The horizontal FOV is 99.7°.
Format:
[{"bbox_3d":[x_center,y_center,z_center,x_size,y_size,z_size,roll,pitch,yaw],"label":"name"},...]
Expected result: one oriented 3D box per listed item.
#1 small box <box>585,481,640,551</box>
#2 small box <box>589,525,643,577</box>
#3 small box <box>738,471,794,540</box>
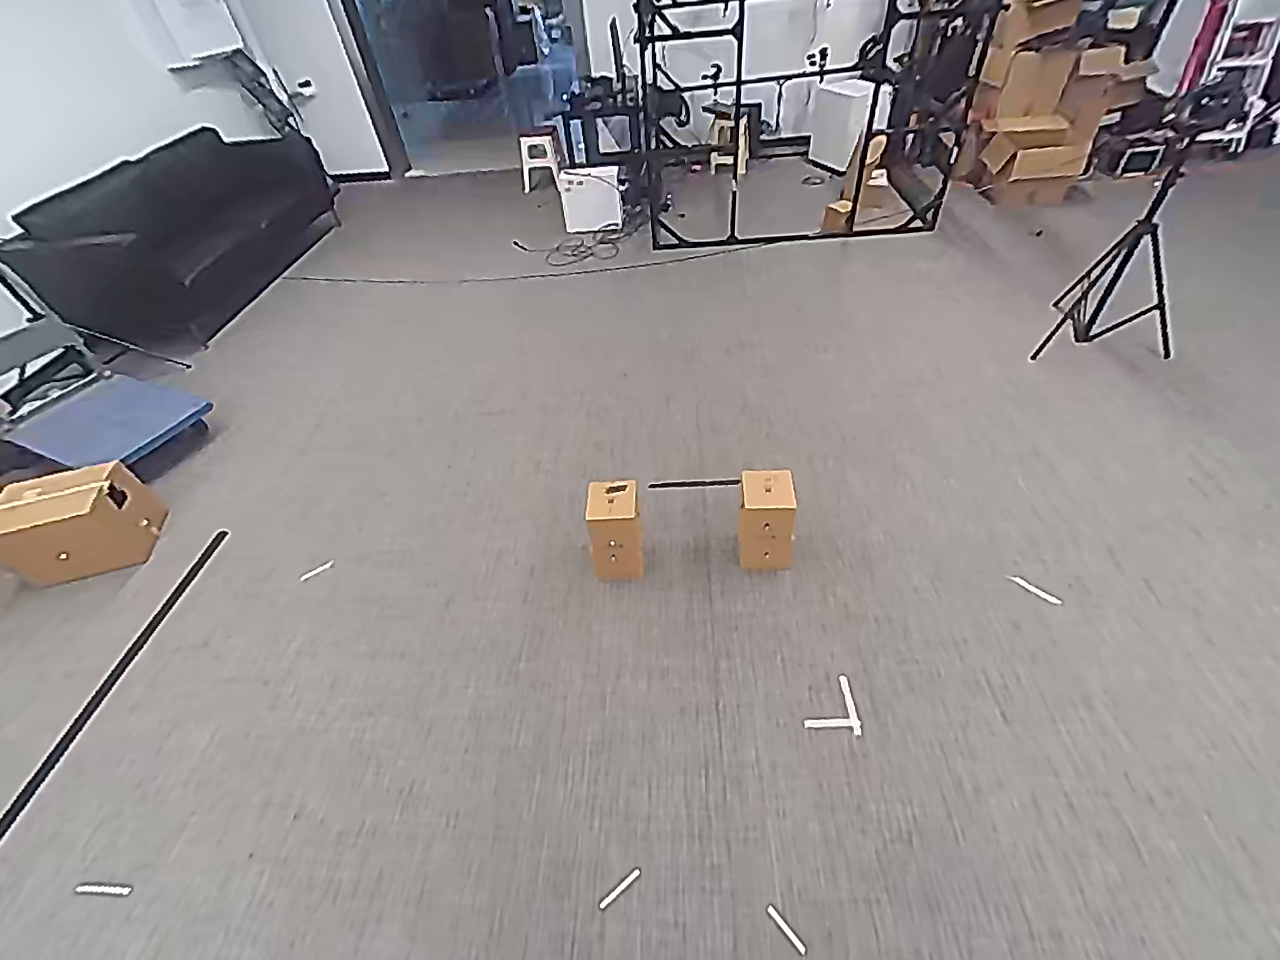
[{"bbox_3d":[-0.091,0.125,1.871,0.168,0.176,0.179,-3,46,5],"label":"small box"},{"bbox_3d":[-0.082,0.243,1.986,0.179,0.176,0.168,-3,45,5],"label":"small box"},{"bbox_3d":[0.425,0.089,1.844,0.168,0.176,0.179,0,45,6],"label":"small box"}]
